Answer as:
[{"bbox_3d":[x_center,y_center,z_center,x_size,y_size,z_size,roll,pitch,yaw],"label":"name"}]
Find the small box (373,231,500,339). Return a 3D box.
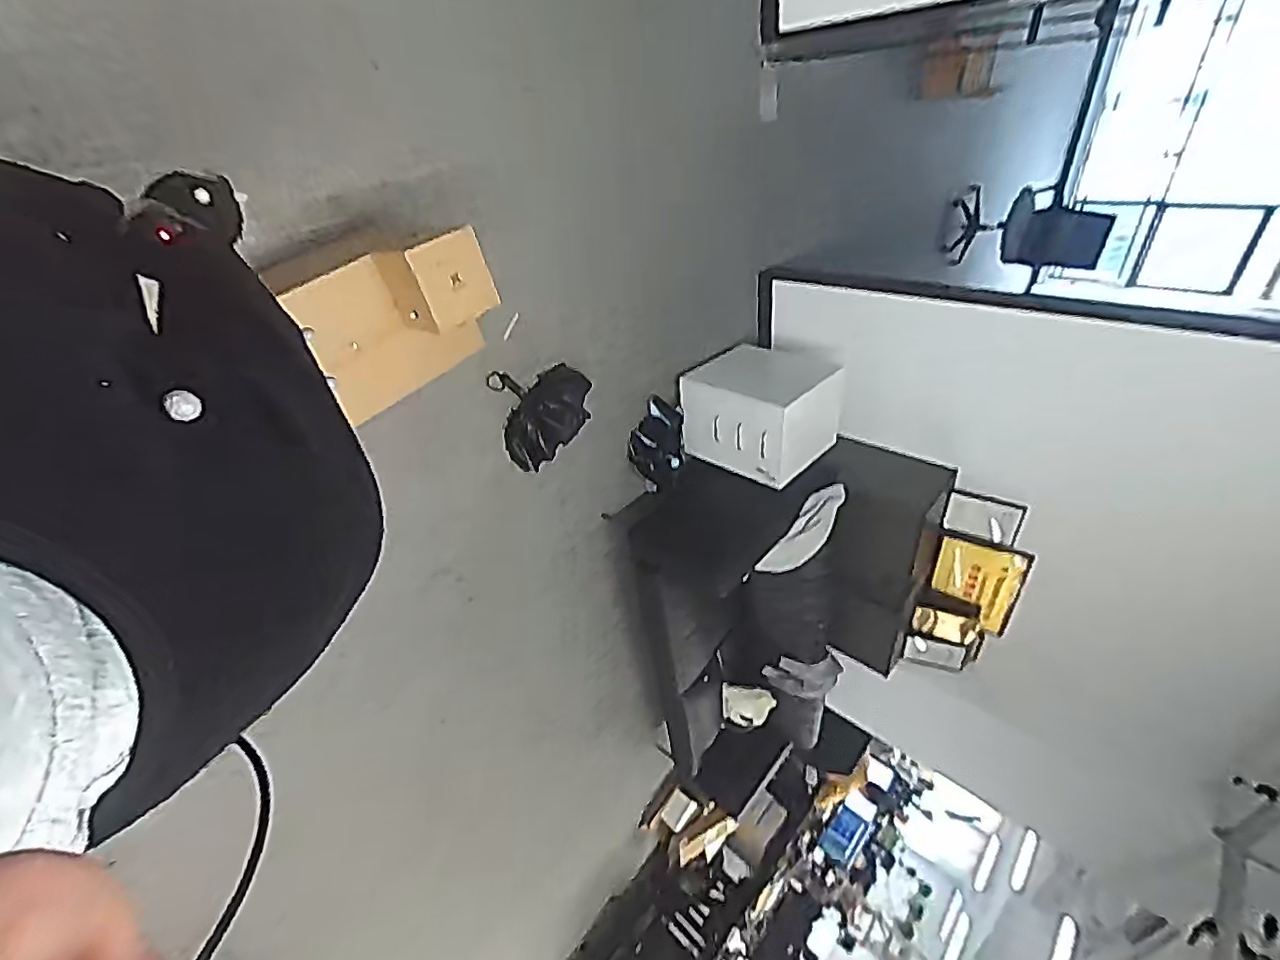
[{"bbox_3d":[-0.446,-0.433,1.191,0.168,0.176,0.179,-42,132,-30],"label":"small box"}]
